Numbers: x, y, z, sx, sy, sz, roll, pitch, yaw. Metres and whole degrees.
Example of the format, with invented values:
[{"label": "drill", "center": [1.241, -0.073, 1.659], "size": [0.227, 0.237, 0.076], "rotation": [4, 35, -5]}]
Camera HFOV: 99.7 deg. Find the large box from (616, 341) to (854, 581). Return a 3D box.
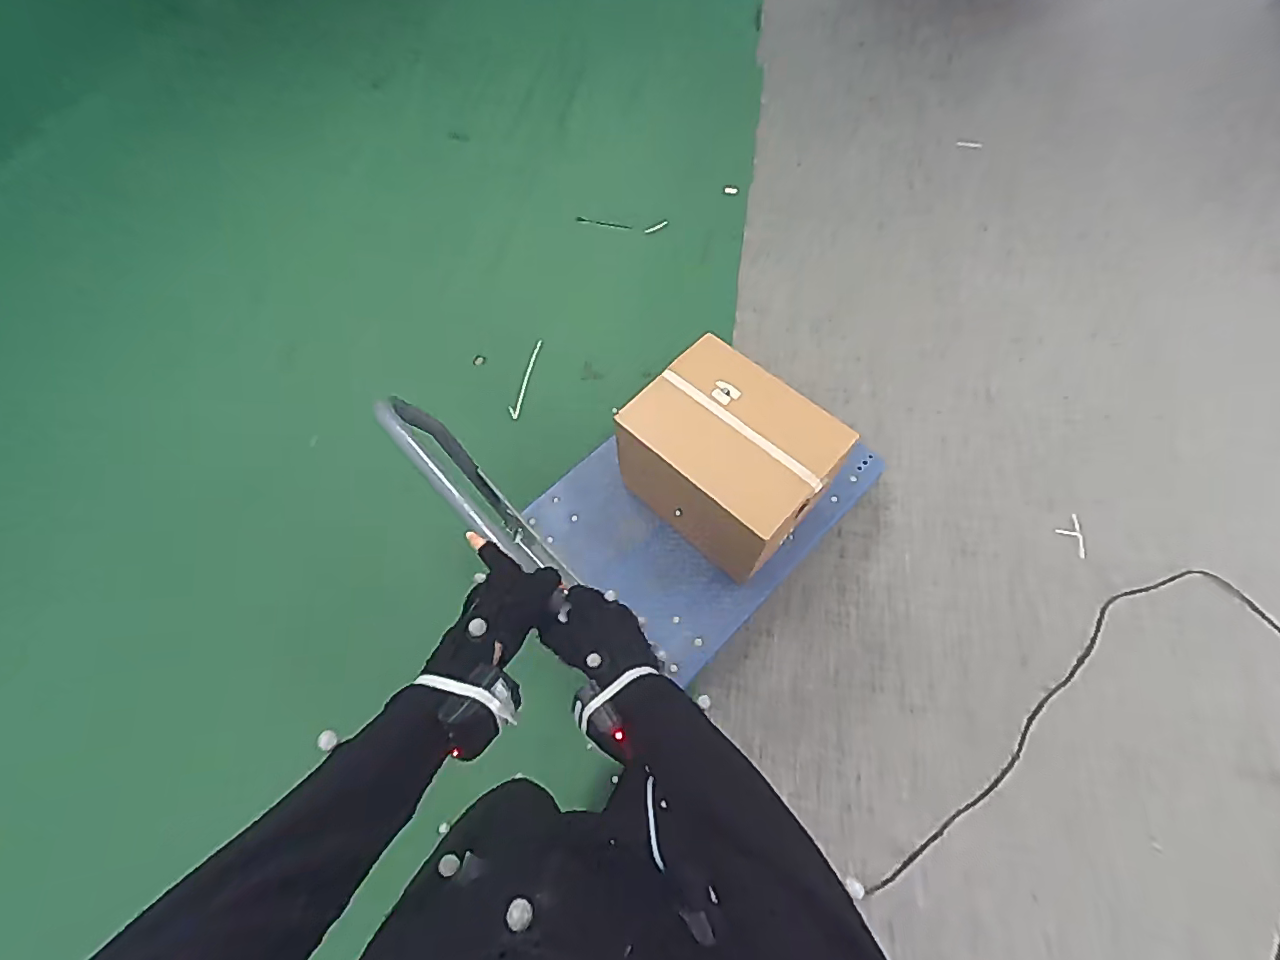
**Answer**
[{"label": "large box", "center": [0.201, -0.037, 1.257], "size": [0.408, 0.320, 0.320], "rotation": [39, 70, 19]}]
